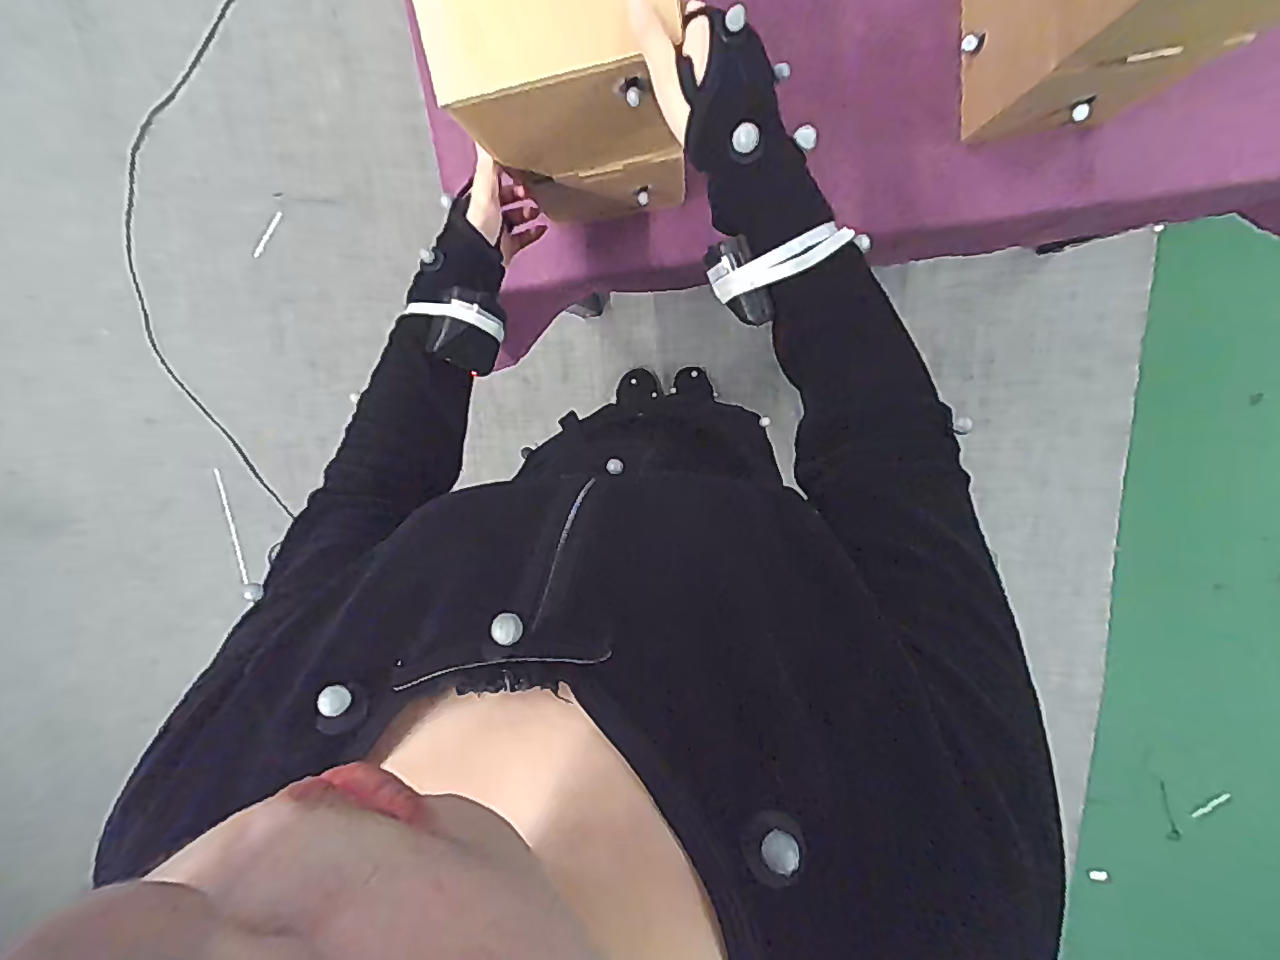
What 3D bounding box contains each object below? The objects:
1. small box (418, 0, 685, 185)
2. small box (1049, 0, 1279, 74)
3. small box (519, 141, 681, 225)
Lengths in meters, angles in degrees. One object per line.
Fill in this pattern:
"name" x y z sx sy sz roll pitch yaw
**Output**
"small box" -0.062 -0.362 0.433 0.179 0.176 0.168 -10 101 5
"small box" 0.428 -0.424 0.378 0.179 0.176 0.168 -6 102 6
"small box" -0.044 -0.395 0.592 0.168 0.176 0.179 -7 101 5
